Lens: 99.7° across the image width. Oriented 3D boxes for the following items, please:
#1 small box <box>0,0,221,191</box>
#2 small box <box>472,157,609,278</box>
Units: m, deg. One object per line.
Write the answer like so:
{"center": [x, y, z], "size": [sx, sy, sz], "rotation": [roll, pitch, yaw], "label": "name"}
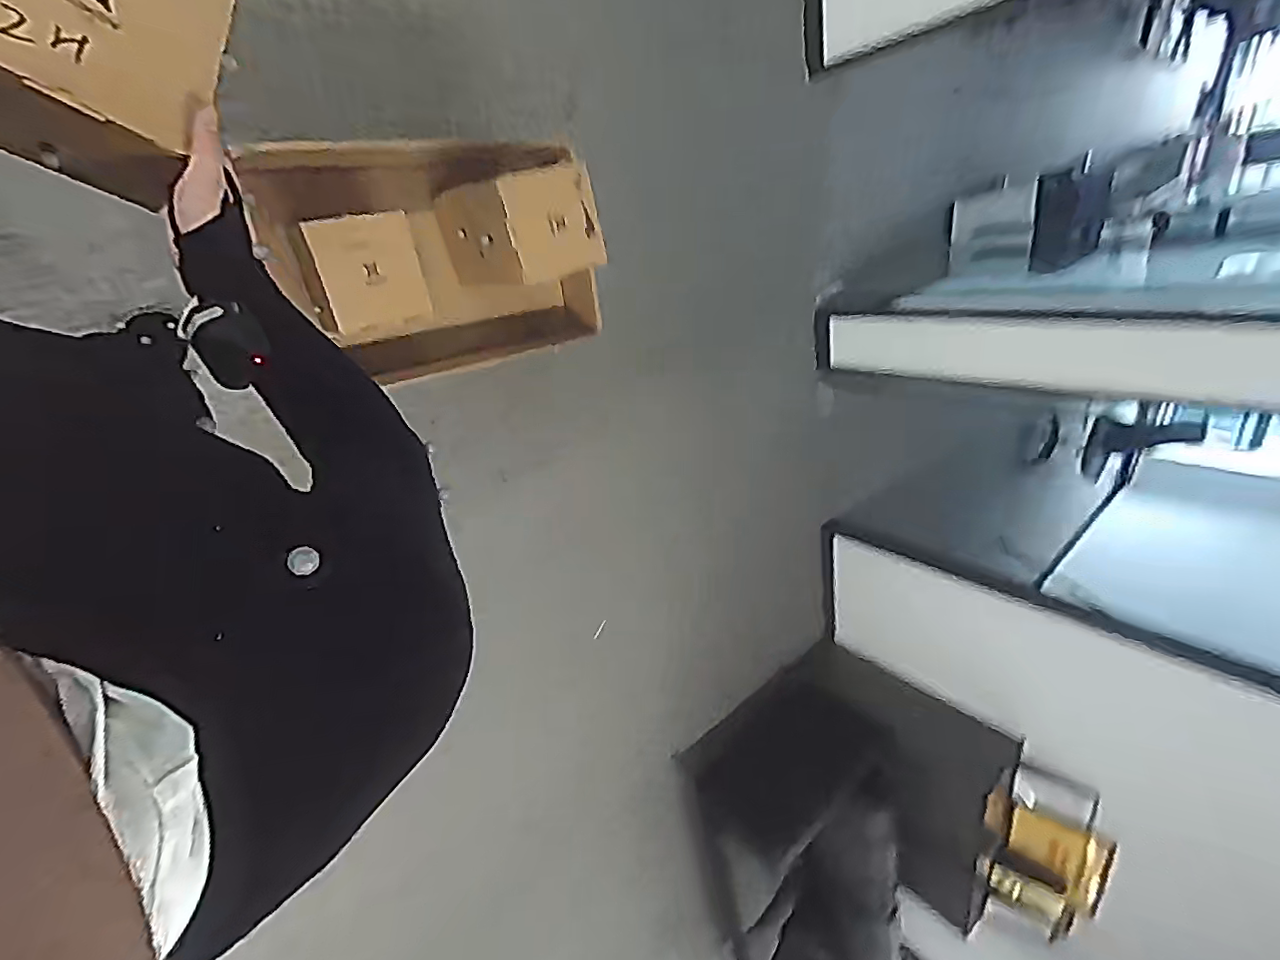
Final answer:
{"center": [-0.489, -0.389, 0.459], "size": [0.168, 0.176, 0.179], "rotation": [13, 83, -50], "label": "small box"}
{"center": [-0.185, -0.465, 0.973], "size": [0.179, 0.176, 0.168], "rotation": [-27, 122, -27], "label": "small box"}
